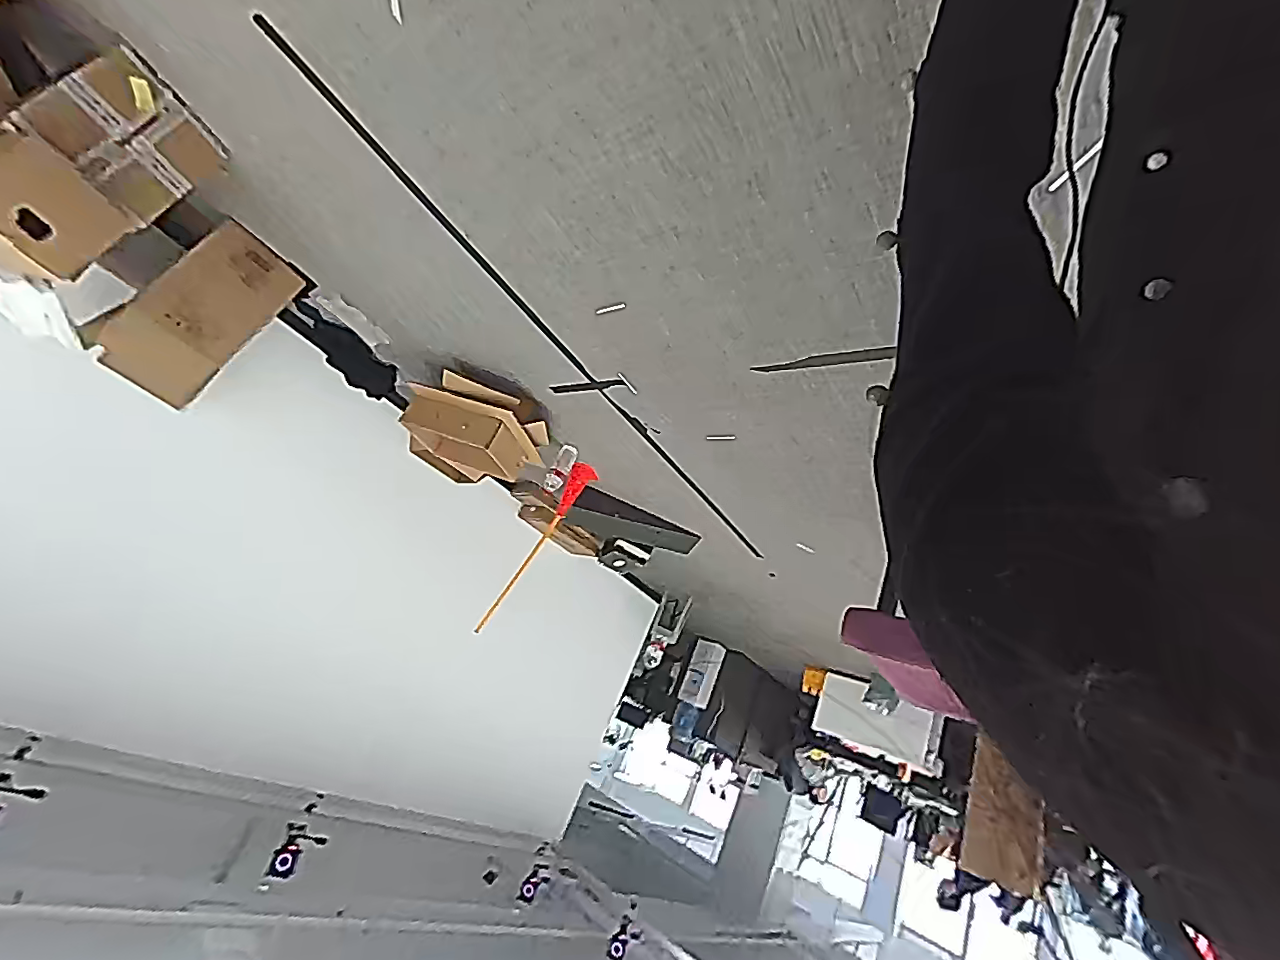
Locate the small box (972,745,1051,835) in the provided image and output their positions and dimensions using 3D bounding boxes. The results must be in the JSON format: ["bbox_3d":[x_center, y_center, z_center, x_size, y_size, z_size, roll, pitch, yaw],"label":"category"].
[{"bbox_3d":[1.075,0.888,1.561,0.168,0.176,0.179,3,149,42],"label":"small box"}]
